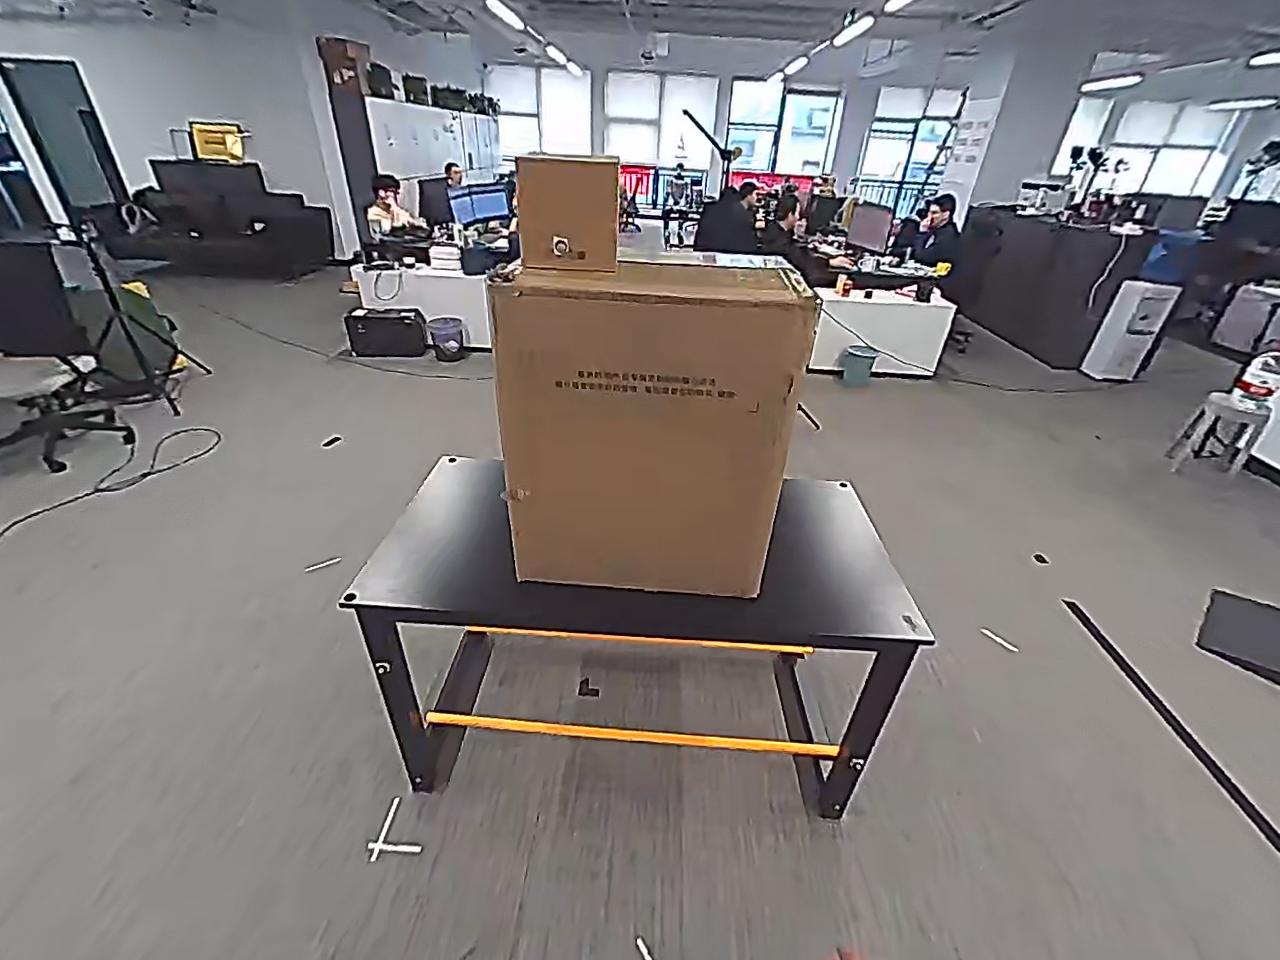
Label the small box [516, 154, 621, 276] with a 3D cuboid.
[{"bbox_3d":[-0.118,-0.468,0.951,0.168,0.176,0.179,0,34,-3],"label":"small box"}]
